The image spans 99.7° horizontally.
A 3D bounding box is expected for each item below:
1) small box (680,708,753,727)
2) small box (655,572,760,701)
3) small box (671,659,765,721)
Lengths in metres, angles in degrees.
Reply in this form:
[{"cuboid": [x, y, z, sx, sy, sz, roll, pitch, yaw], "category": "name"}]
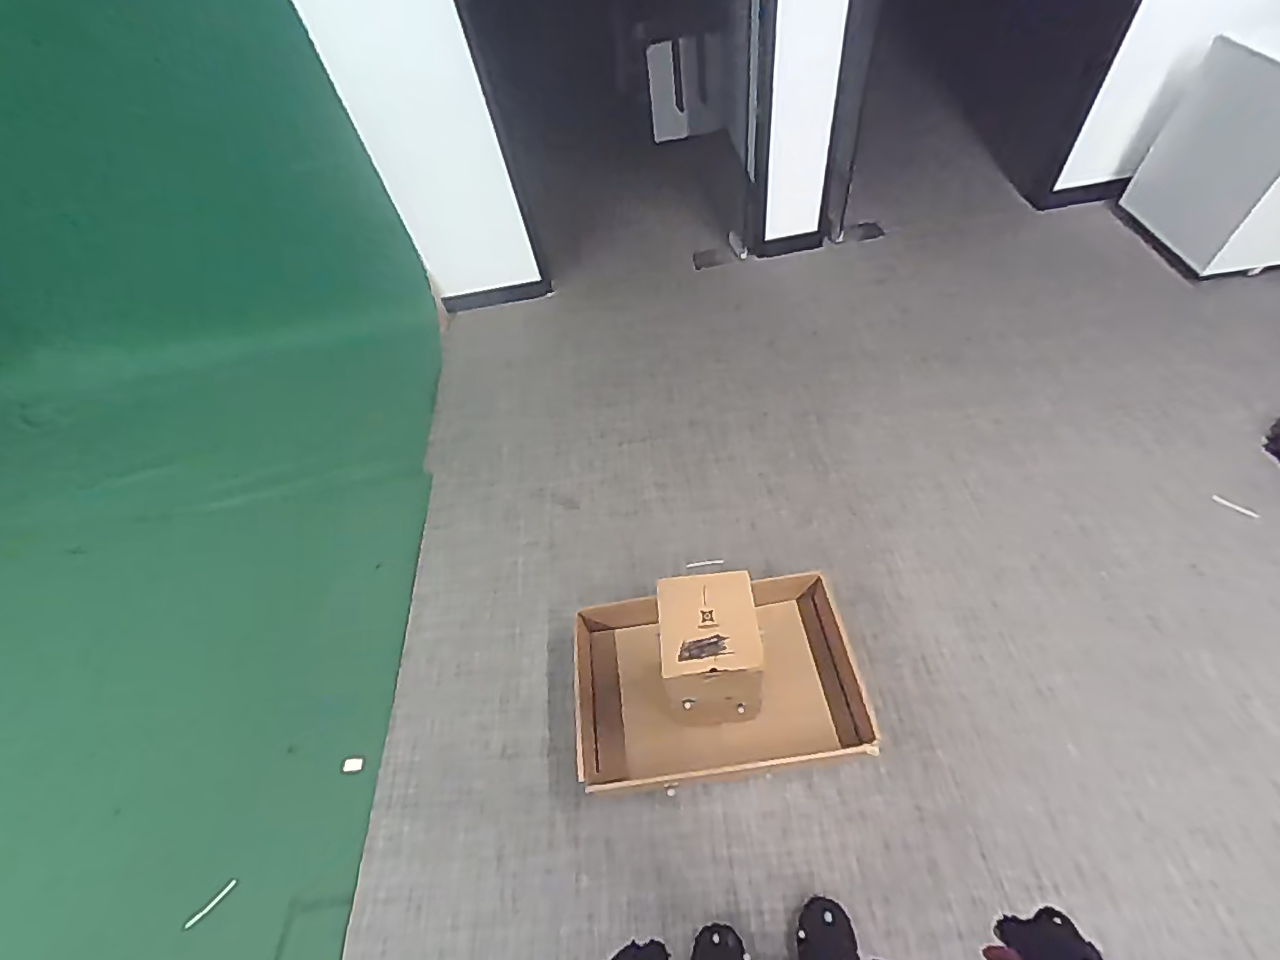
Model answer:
[{"cuboid": [0.161, 0.459, 1.254, 0.179, 0.176, 0.168, -10, 52, 1], "category": "small box"}, {"cuboid": [0.120, 0.288, 0.974, 0.168, 0.176, 0.179, -6, 51, 4], "category": "small box"}, {"cuboid": [0.143, 0.374, 1.093, 0.179, 0.176, 0.168, -10, 53, 2], "category": "small box"}]
